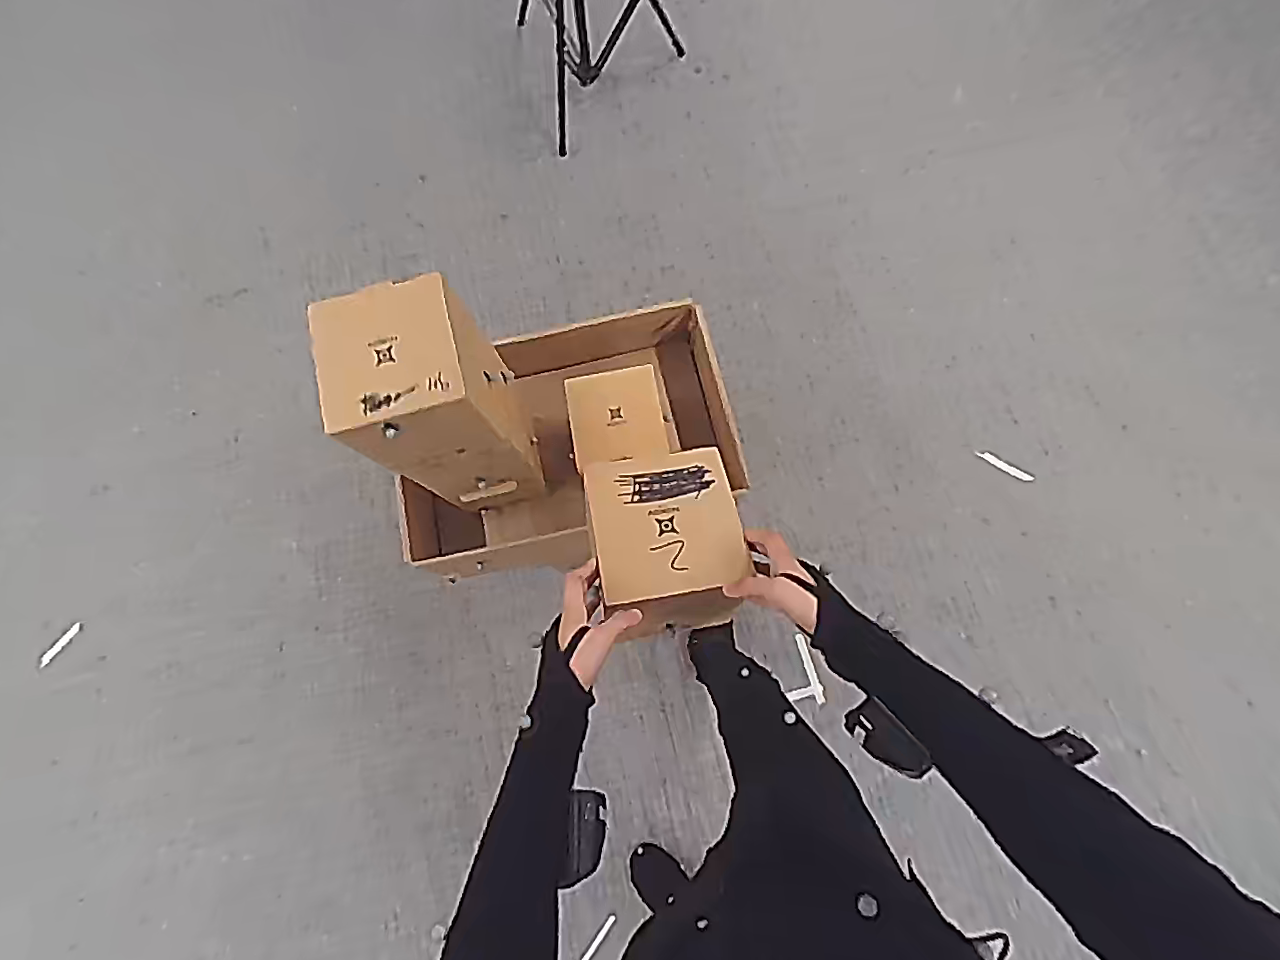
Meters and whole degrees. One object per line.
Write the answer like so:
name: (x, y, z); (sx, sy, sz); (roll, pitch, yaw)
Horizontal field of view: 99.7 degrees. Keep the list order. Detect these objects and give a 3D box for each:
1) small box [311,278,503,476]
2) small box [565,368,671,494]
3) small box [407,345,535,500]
small box: (-0.294, -0.124, 0.707); (0.168, 0.176, 0.179); (-15, 74, -1)
small box: (-0.039, -0.086, 1.027); (0.168, 0.176, 0.179); (-11, 76, 1)
small box: (-0.280, -0.083, 0.866); (0.168, 0.176, 0.179); (-15, 76, -1)
